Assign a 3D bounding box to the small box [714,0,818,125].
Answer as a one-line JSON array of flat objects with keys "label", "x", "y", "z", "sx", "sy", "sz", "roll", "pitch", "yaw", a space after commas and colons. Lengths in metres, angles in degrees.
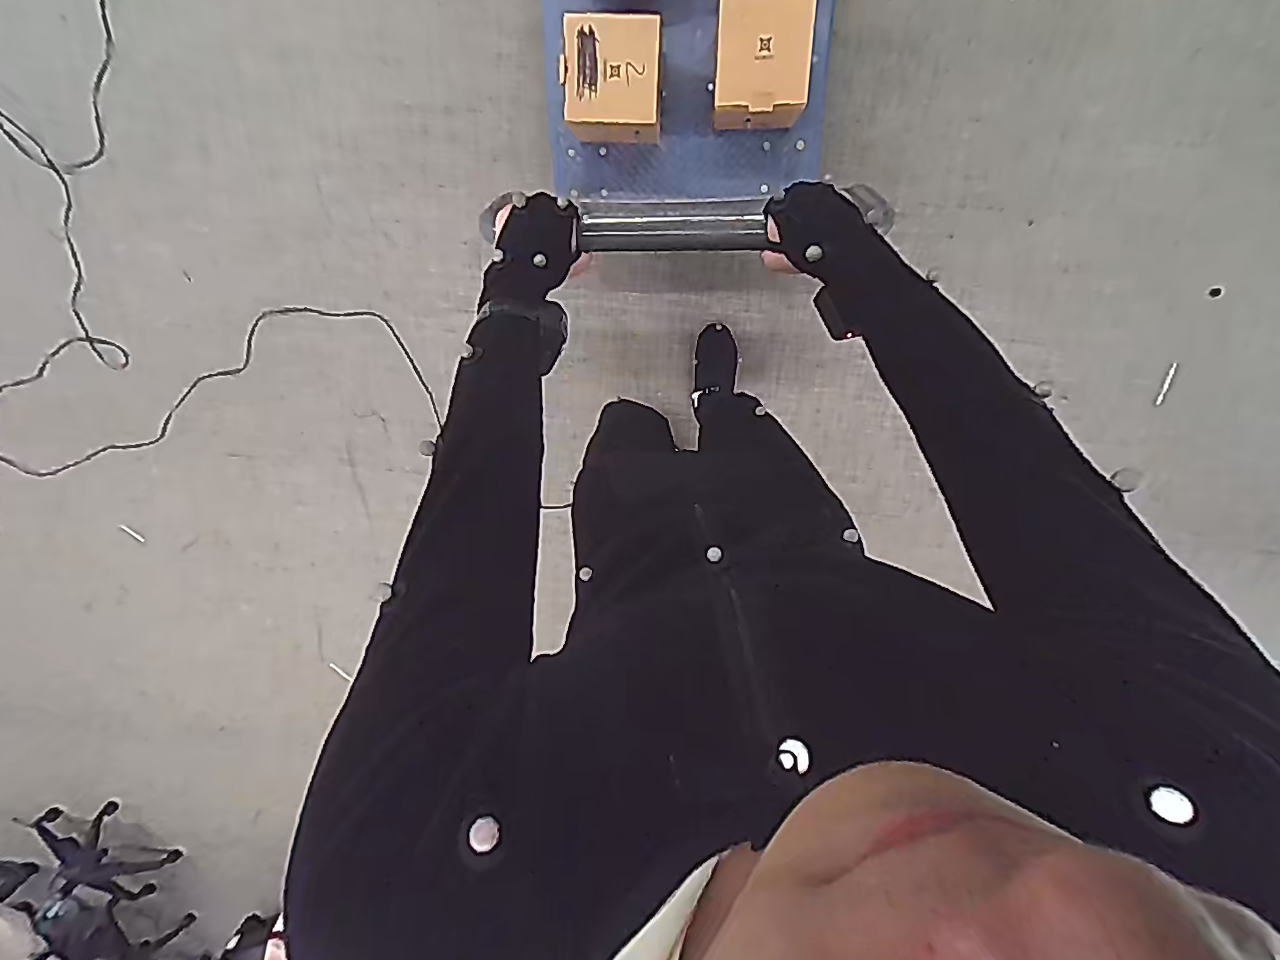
[{"label": "small box", "x": 0.228, "y": -0.795, "z": 1.024, "sx": 0.168, "sy": 0.176, "sz": 0.179, "roll": 2, "pitch": 113, "yaw": 4}]
